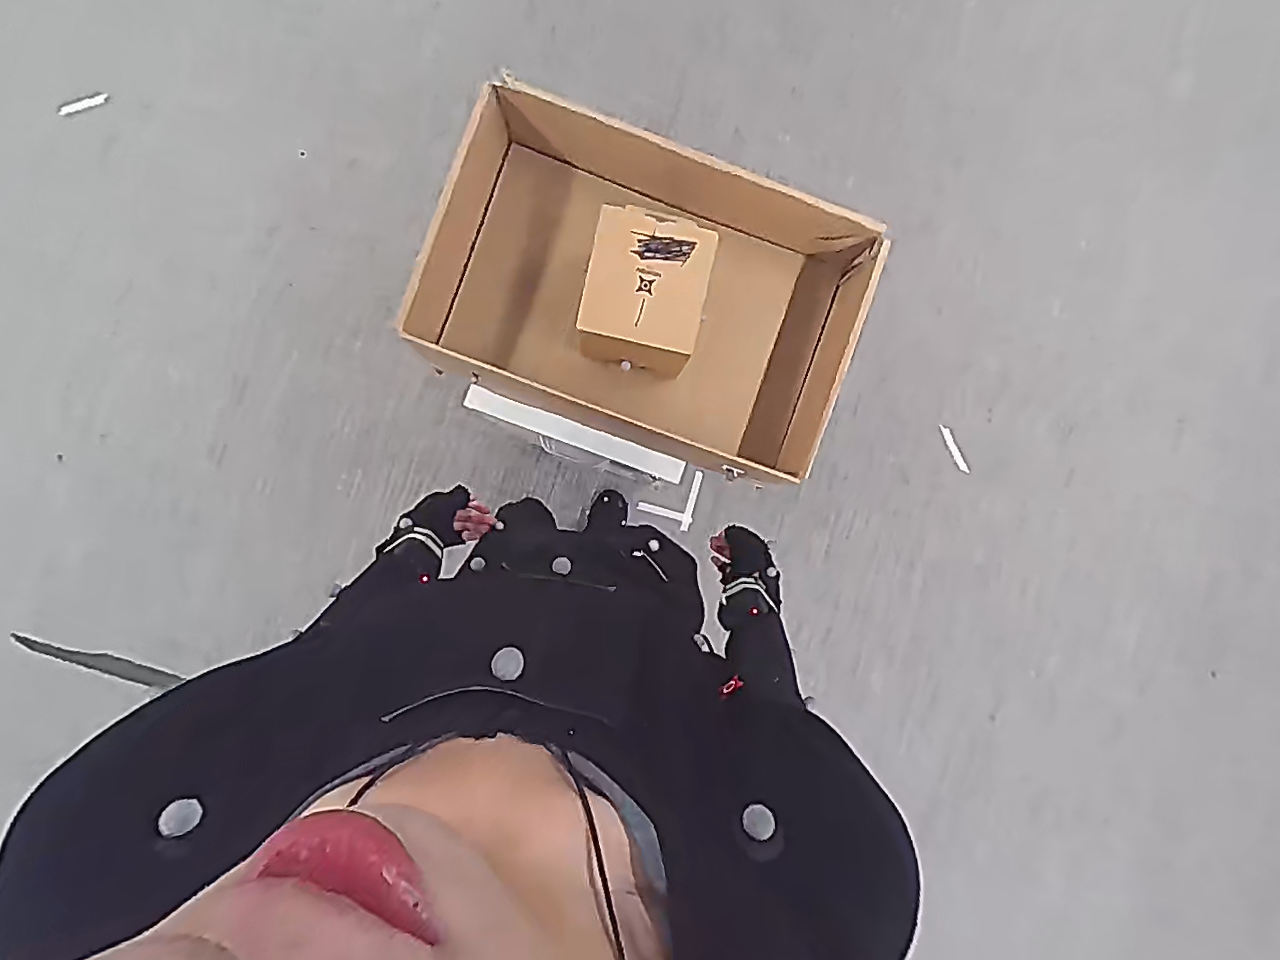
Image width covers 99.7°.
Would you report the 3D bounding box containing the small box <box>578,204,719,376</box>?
[{"bbox_3d":[0.007,-0.271,0.812,0.168,0.176,0.179,12,89,-3],"label":"small box"}]
